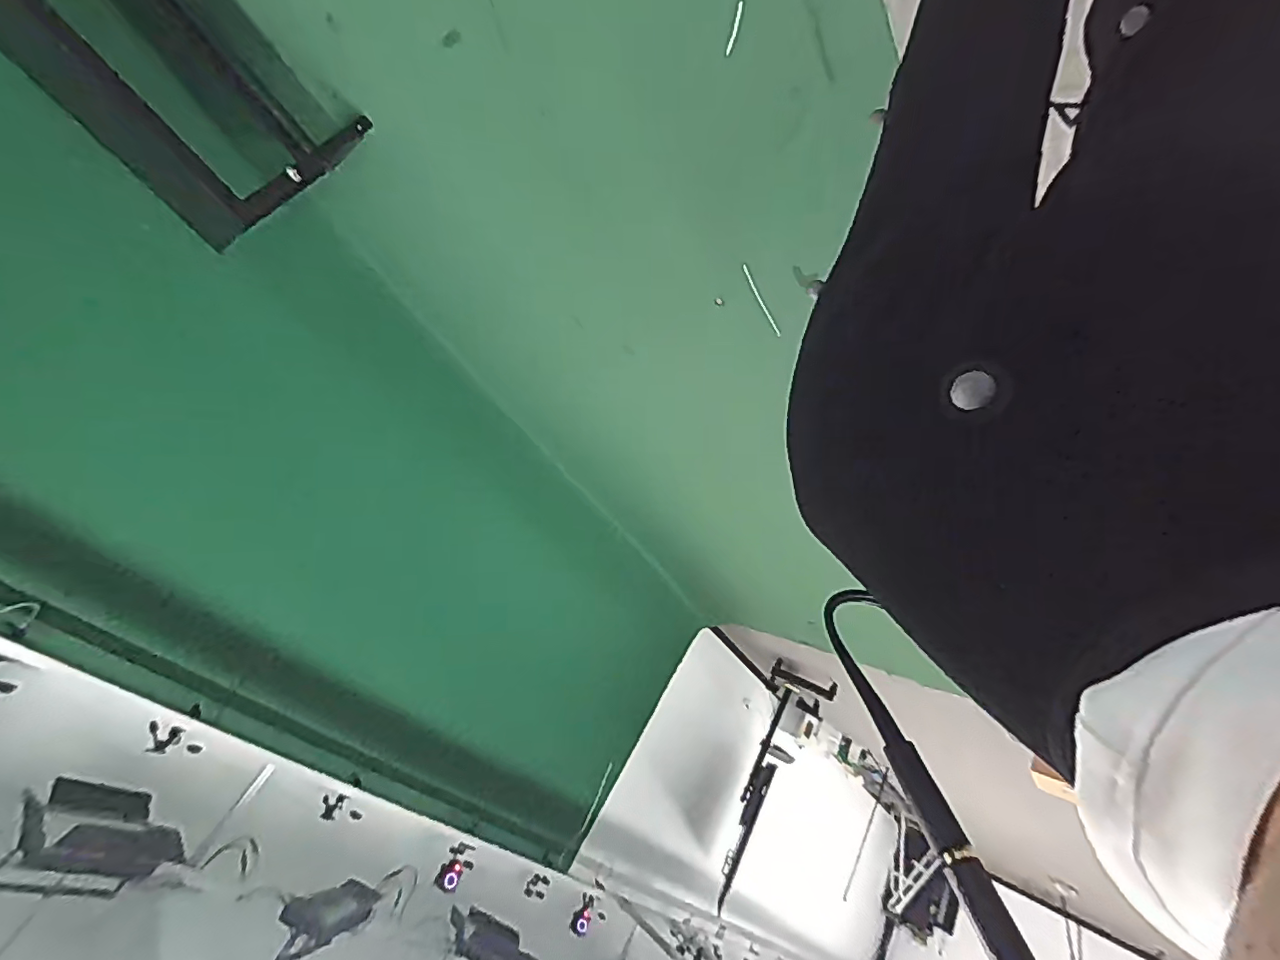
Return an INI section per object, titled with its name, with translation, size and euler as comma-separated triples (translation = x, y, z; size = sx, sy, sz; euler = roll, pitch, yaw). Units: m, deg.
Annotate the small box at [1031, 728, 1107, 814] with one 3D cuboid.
[small box]
translation = 1.424, 0.957, 1.789
size = 0.168, 0.176, 0.179
euler = 3, 142, 48
